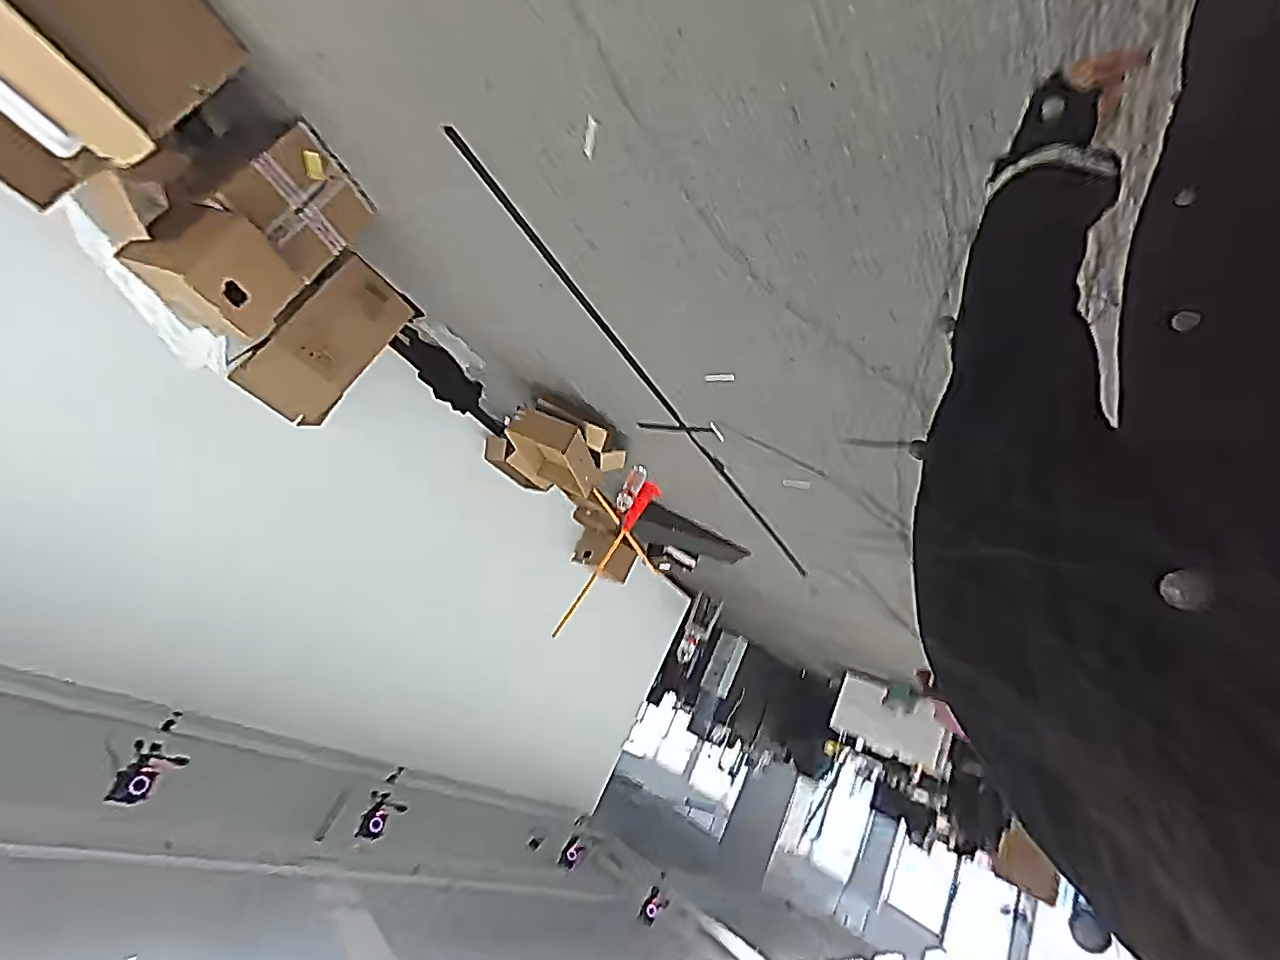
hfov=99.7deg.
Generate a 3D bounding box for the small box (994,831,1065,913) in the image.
[{"bbox_3d":[1.357,1.360,1.880,0.168,0.176,0.179,8,153,45],"label":"small box"}]
